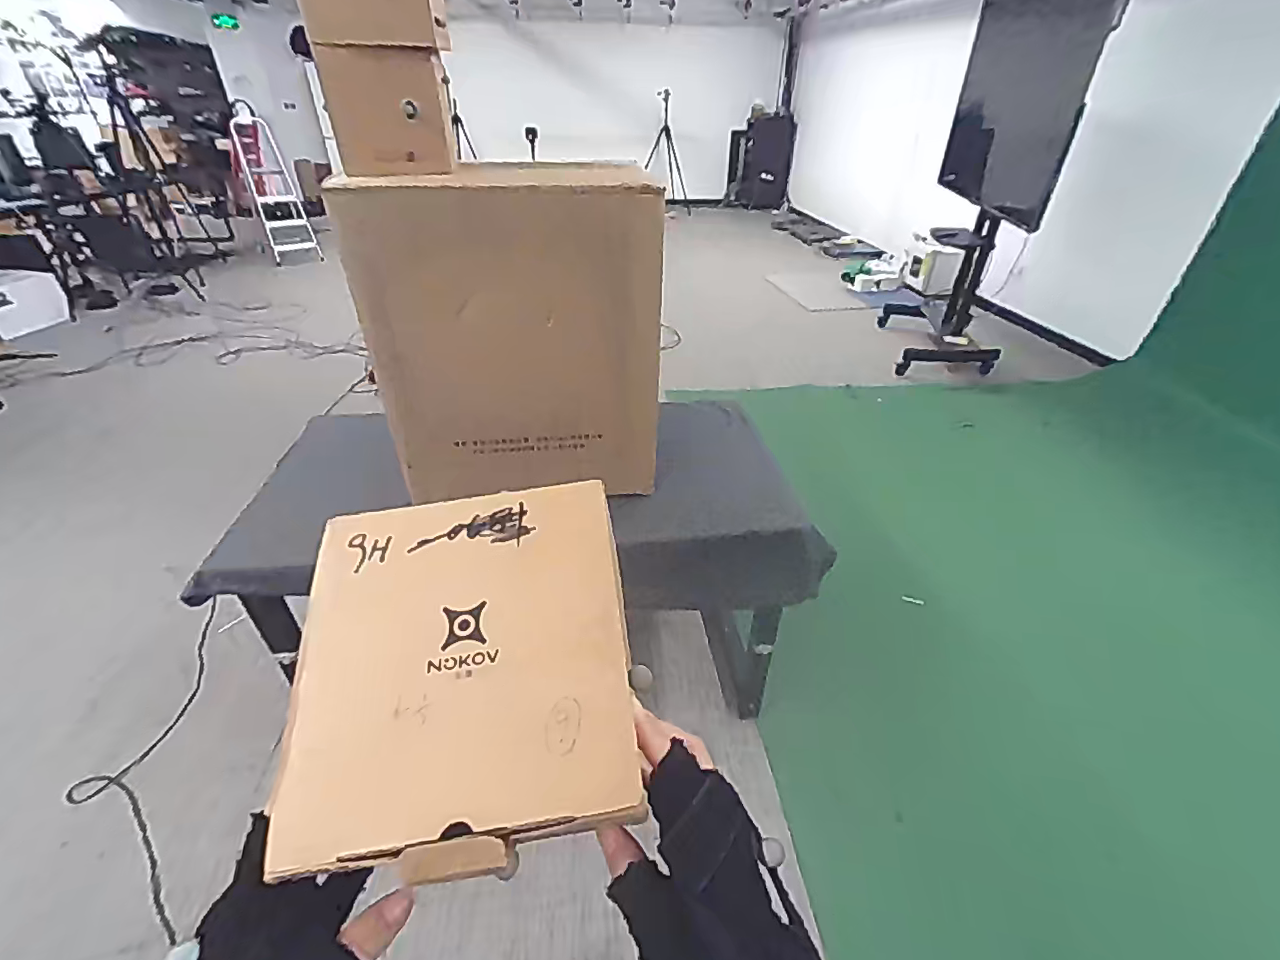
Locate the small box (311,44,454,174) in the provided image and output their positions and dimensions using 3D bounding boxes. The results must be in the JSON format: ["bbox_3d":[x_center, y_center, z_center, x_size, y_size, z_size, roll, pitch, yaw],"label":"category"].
[{"bbox_3d":[-0.406,-0.607,0.885,0.168,0.176,0.179,-10,39,-13],"label":"small box"}]

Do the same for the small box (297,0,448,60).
[{"bbox_3d":[-0.391,-0.721,0.790,0.179,0.176,0.168,-5,37,-7],"label":"small box"}]

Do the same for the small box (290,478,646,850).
[{"bbox_3d":[-0.090,0.124,0.361,0.168,0.176,0.179,-9,59,-3],"label":"small box"}]
